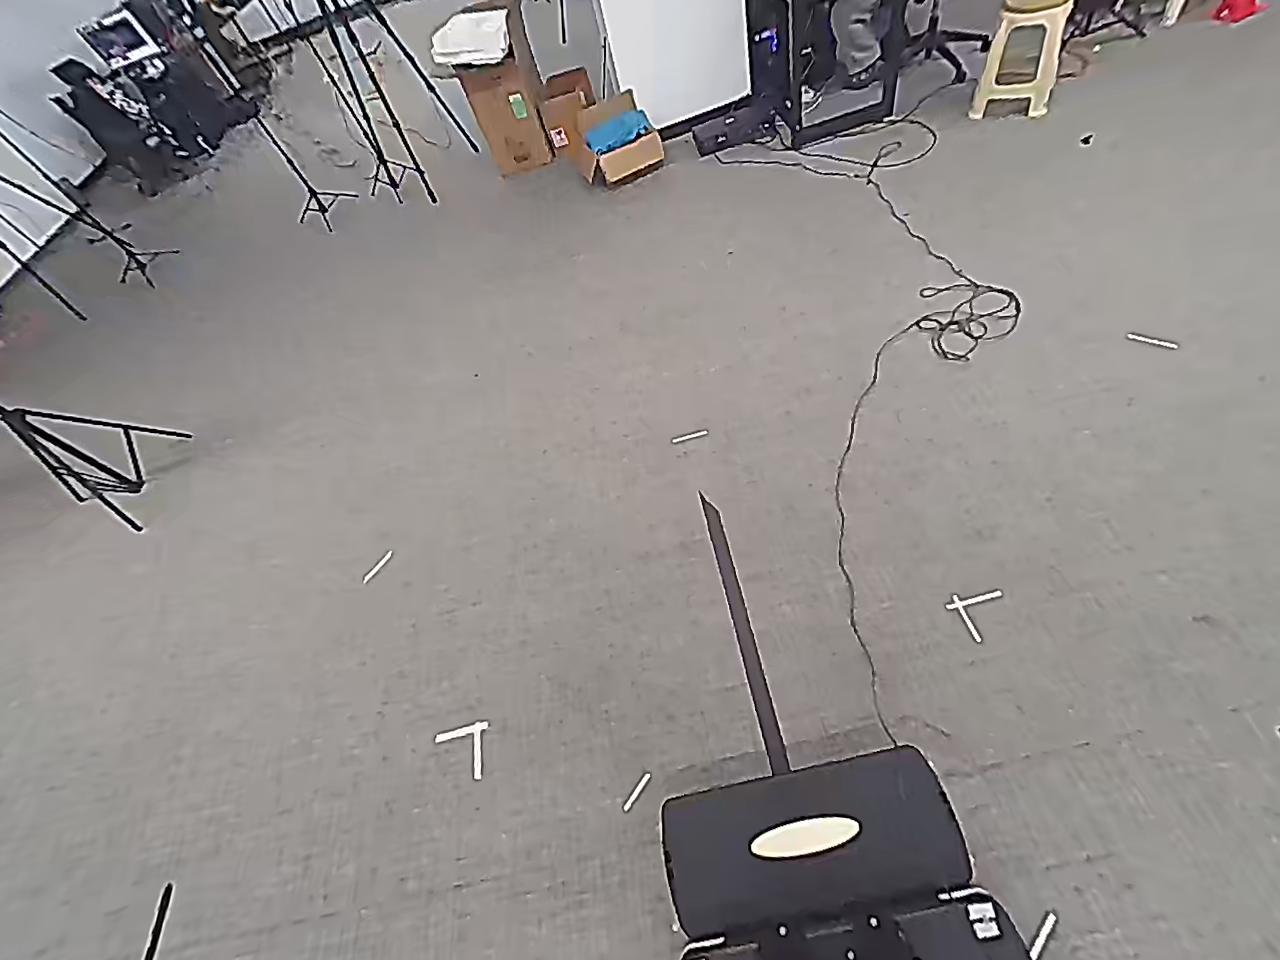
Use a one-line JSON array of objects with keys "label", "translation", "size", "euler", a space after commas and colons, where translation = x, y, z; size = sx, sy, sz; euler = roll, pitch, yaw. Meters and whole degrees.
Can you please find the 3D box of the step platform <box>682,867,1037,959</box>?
[{"label": "step platform", "translation": [0.430, 1.013, 1.082], "size": [0.684, 0.204, 0.286], "euler": [-17, 52, 6]}]
